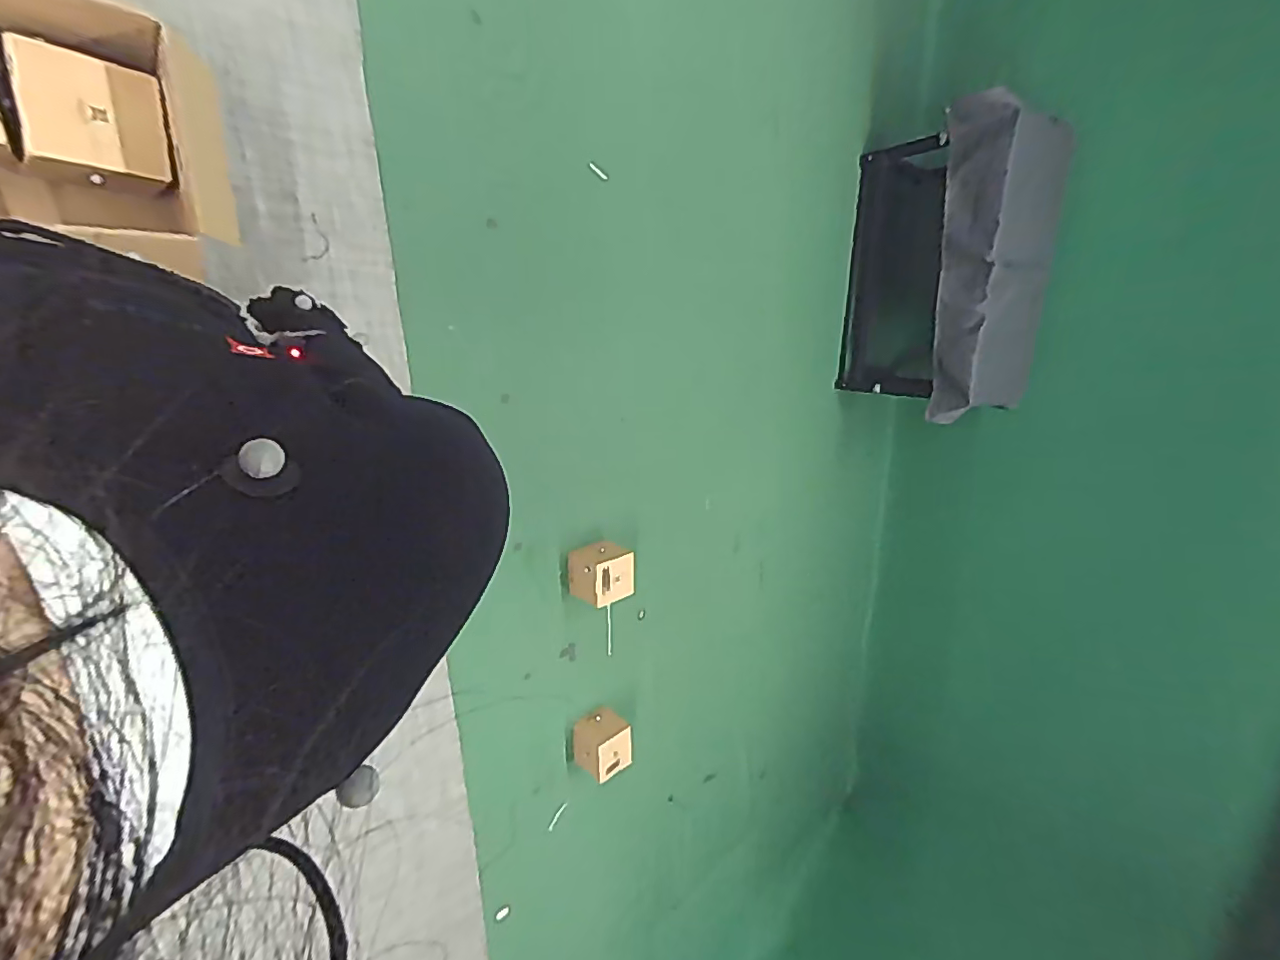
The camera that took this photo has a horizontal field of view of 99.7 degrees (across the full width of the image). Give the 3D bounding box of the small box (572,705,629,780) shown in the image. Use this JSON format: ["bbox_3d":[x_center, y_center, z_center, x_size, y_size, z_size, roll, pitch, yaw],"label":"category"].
[{"bbox_3d":[-0.159,1.043,2.162,0.168,0.176,0.179,-14,110,-41],"label":"small box"}]
